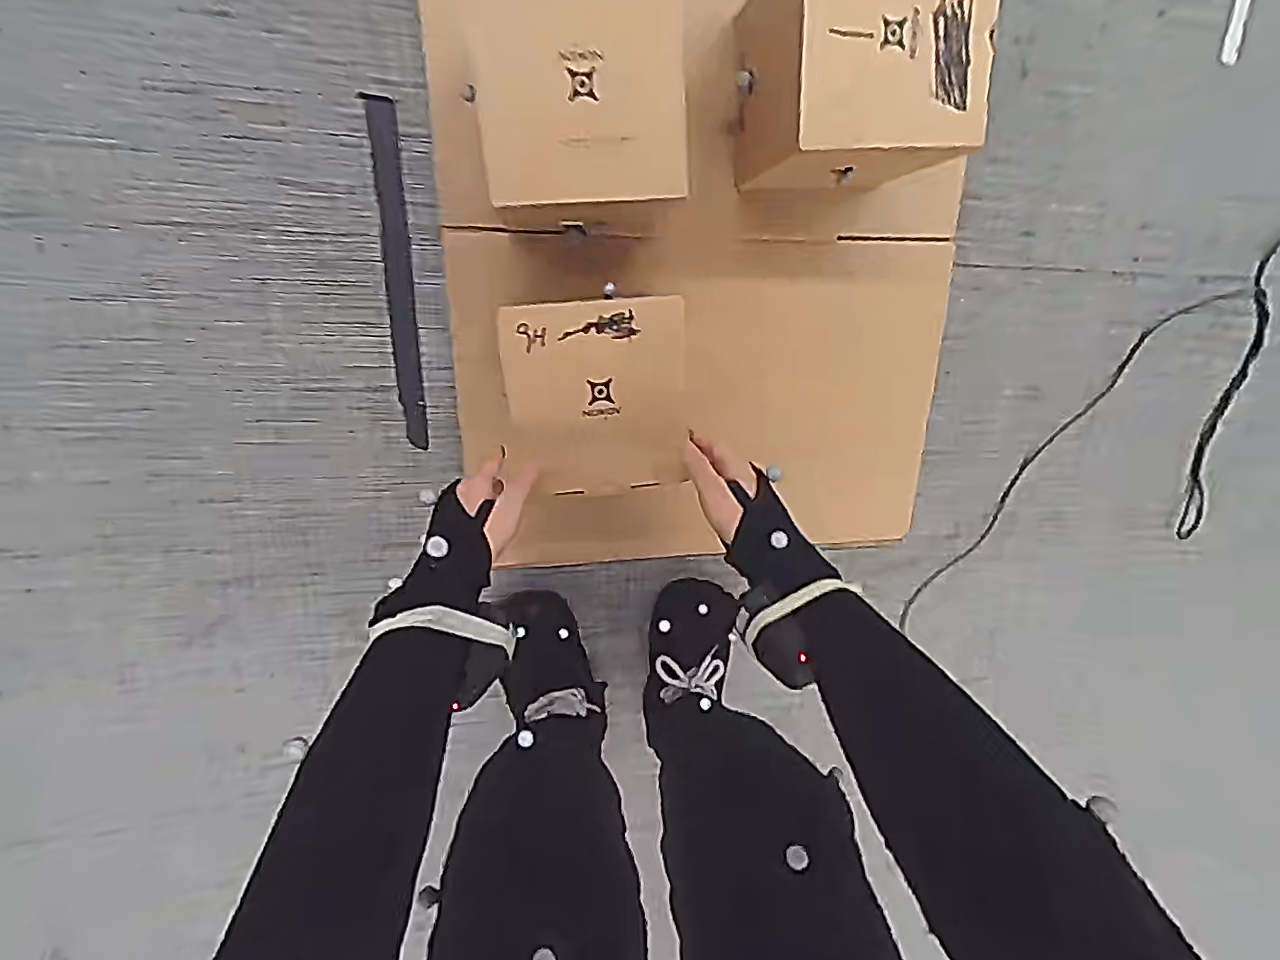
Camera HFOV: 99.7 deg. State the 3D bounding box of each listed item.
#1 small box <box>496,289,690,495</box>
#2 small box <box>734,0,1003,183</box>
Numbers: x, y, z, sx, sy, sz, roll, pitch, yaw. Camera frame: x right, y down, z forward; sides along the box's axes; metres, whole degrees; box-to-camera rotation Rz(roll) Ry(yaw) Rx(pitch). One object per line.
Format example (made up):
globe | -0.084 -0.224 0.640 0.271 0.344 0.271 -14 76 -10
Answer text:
small box | -0.047 -0.101 0.560 0.168 0.176 0.179 -7 110 -8
small box | 0.200 -0.390 0.511 0.179 0.176 0.168 -6 108 -7
